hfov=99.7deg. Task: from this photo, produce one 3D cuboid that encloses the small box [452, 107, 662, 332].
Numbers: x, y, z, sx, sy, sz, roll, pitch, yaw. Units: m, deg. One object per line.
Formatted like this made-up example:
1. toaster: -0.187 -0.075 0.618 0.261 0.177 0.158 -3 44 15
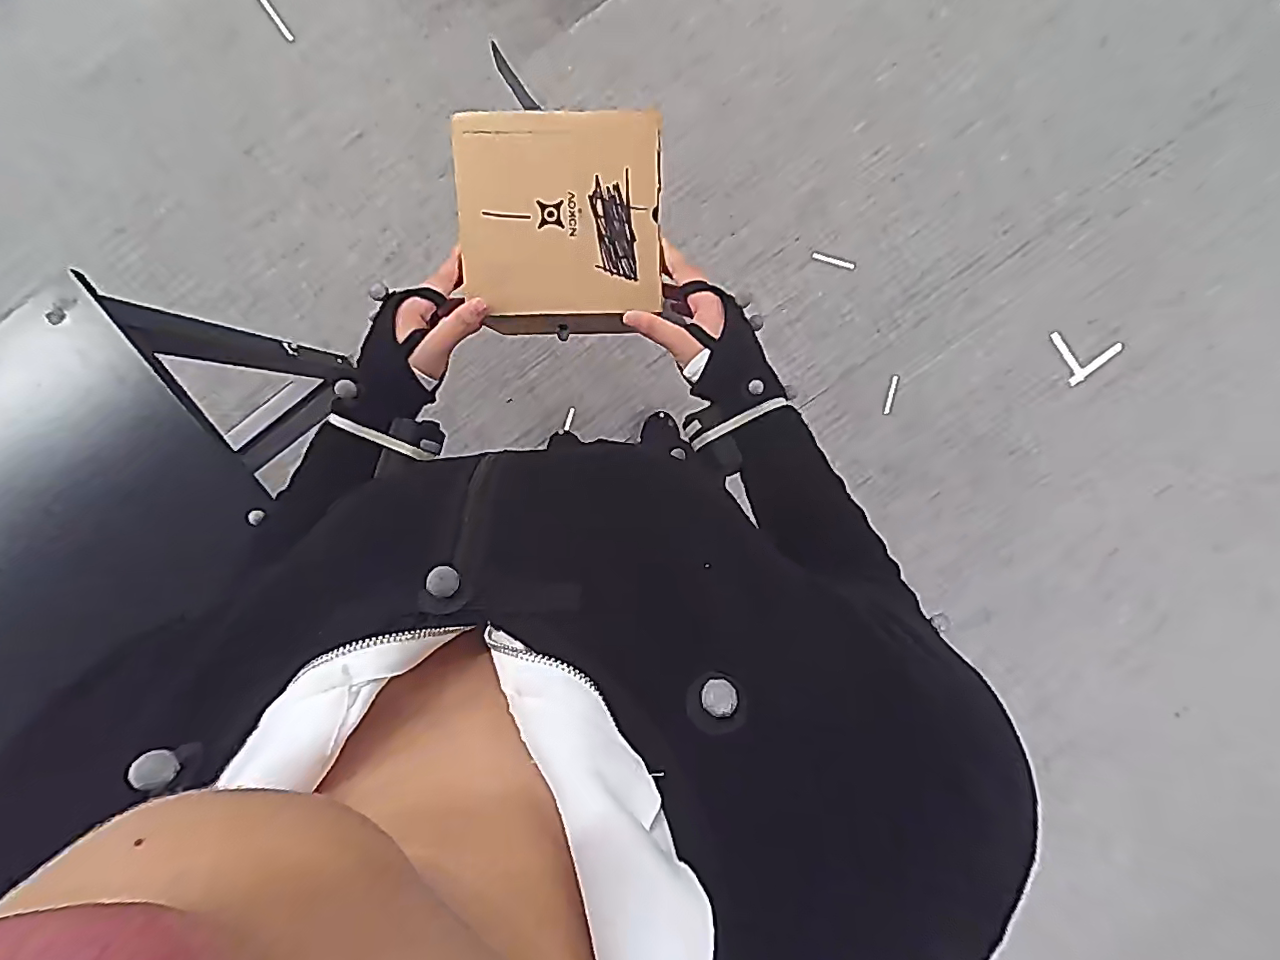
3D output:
1. small box: -0.073 -0.243 0.542 0.179 0.176 0.168 -2 100 -2
